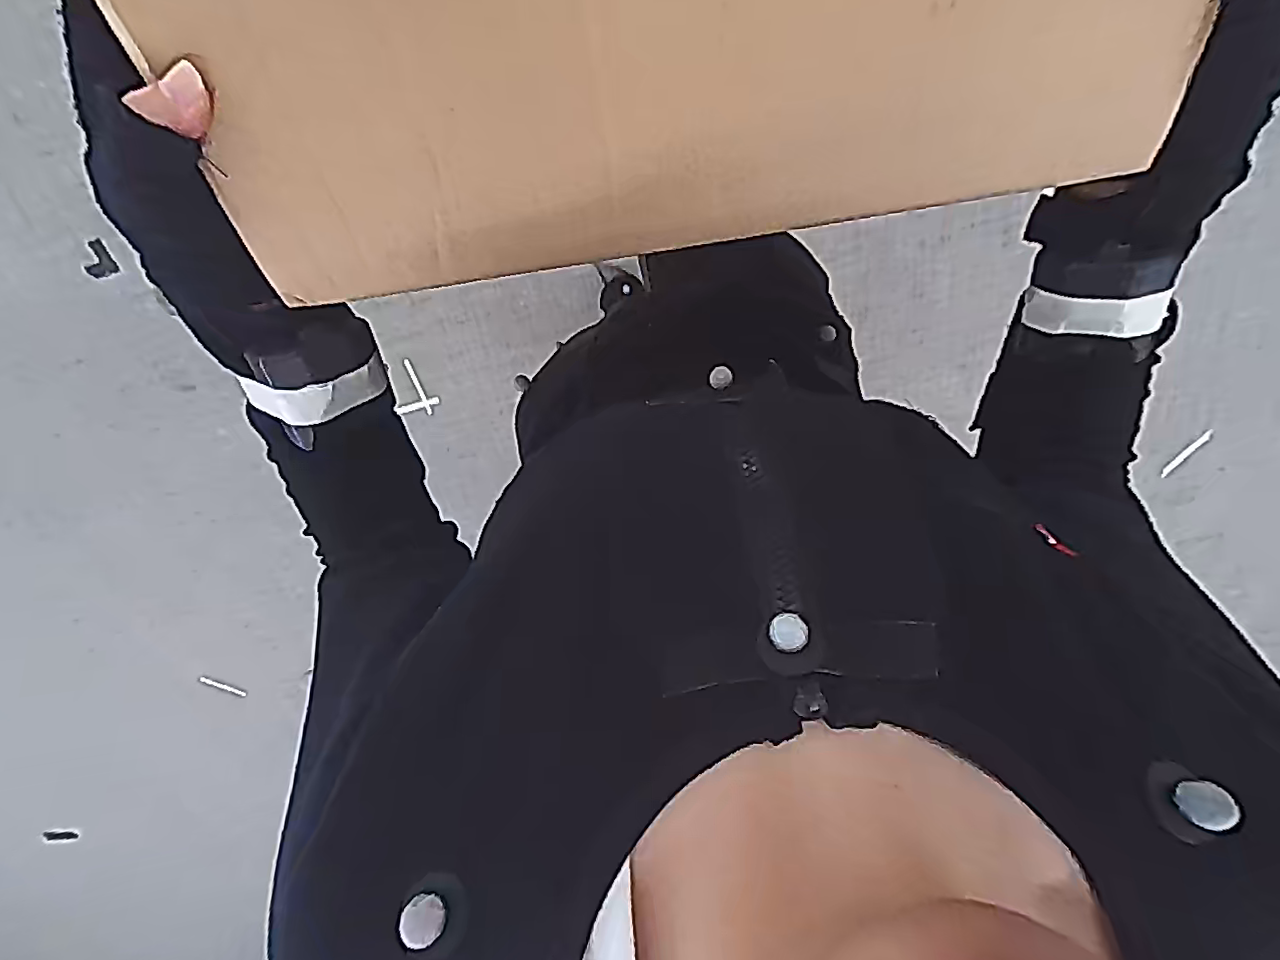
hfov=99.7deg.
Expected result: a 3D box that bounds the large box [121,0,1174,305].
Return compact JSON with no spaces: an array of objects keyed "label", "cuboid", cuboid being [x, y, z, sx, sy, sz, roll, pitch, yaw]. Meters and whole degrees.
[{"label":"large box","cuboid":[-0.004,-0.329,0.271,0.408,0.320,0.320,-8,131,3]}]
